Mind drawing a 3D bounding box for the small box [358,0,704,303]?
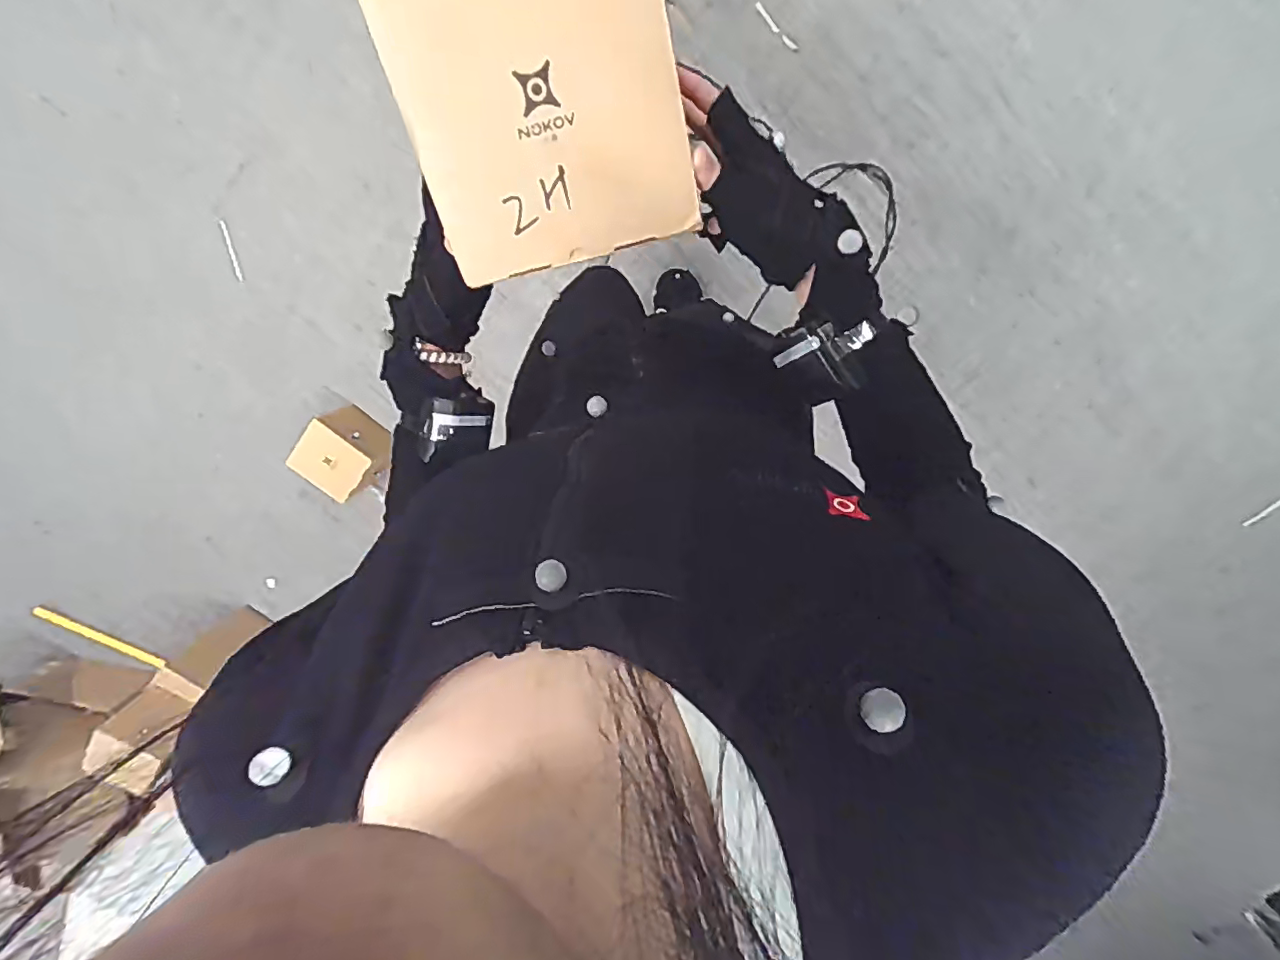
[{"bbox_3d":[-0.054,-0.245,0.387,0.168,0.176,0.179,-11,118,8],"label":"small box"}]

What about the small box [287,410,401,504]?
[{"bbox_3d":[-0.792,-0.071,1.461,0.179,0.176,0.168,39,108,-12],"label":"small box"}]
